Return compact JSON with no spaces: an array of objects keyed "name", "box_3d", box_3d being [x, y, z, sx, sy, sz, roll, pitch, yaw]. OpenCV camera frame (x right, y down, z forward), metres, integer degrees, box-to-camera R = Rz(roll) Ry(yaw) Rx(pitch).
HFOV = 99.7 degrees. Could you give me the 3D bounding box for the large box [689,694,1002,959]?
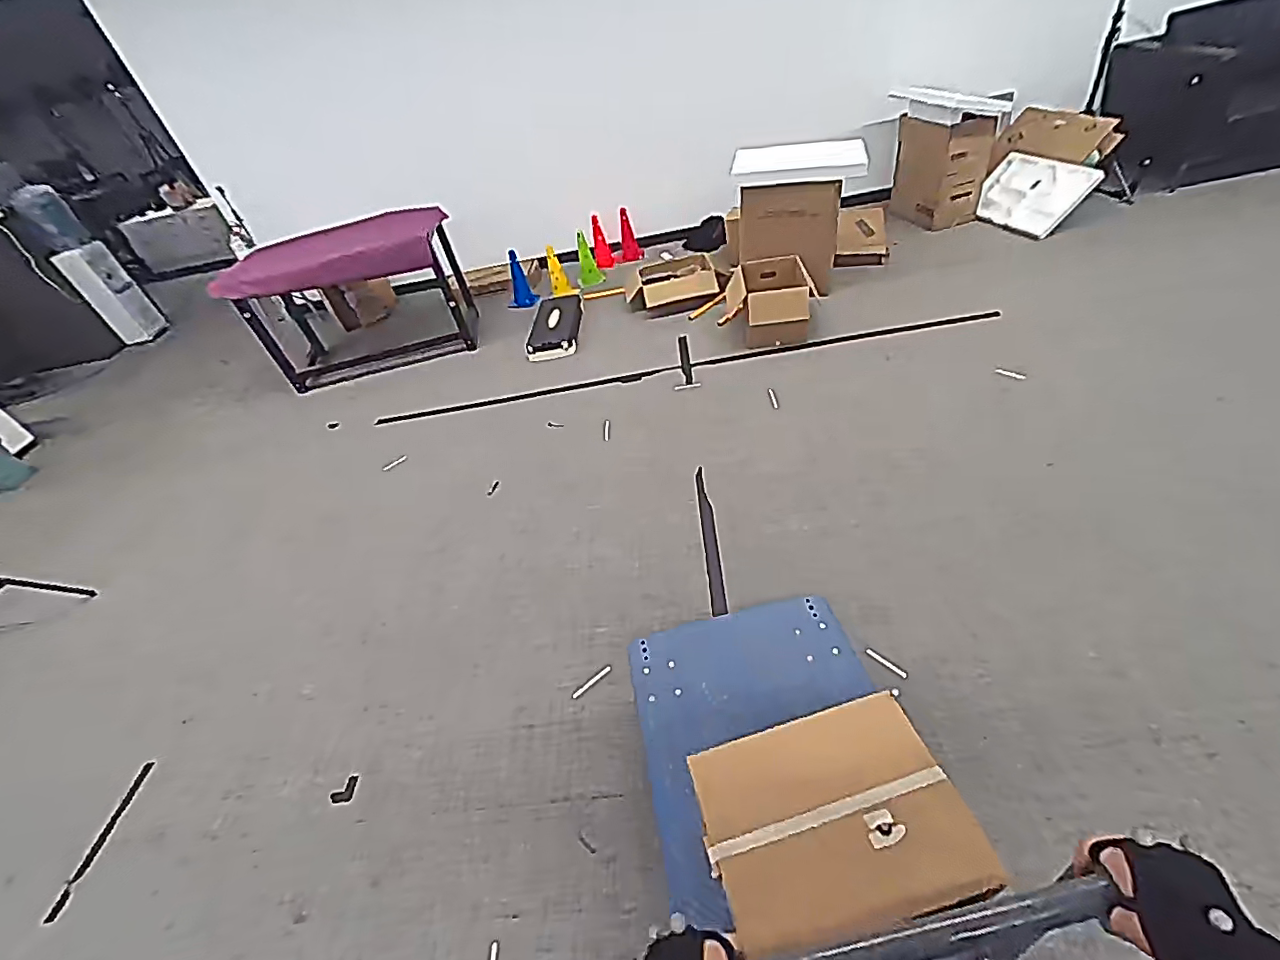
[{"name":"large box","box_3d":[0.336,0.664,0.989,0.408,0.320,0.320,-16,41,-5]}]
